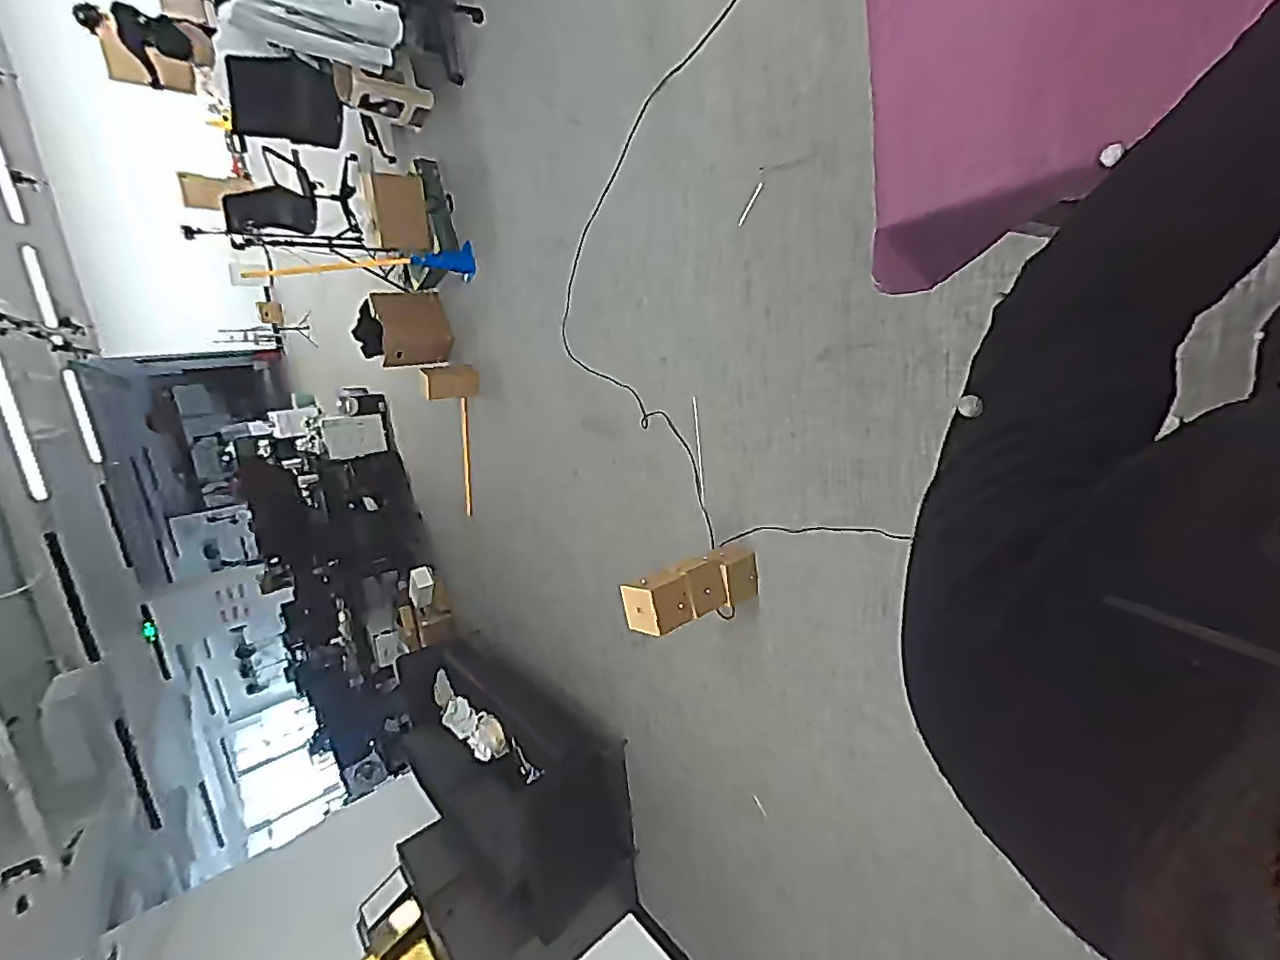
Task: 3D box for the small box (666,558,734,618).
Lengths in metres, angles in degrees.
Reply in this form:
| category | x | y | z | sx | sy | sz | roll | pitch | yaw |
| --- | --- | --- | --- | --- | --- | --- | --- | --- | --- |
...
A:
| category | x | y | z | sx | sy | sz | roll | pitch | yaw |
| --- | --- | --- | --- | --- | --- | --- | --- | --- | --- |
| small box | 0.225 | 0.397 | 2.021 | 0.168 | 0.176 | 0.179 | -10 | 95 | 54 |

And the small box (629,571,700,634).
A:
| category | x | y | z | sx | sy | sz | roll | pitch | yaw |
| --- | --- | --- | --- | --- | --- | --- | --- | --- | --- |
| small box | 0.089 | 0.431 | 1.937 | 0.179 | 0.176 | 0.168 | -5 | 98 | 53 |
